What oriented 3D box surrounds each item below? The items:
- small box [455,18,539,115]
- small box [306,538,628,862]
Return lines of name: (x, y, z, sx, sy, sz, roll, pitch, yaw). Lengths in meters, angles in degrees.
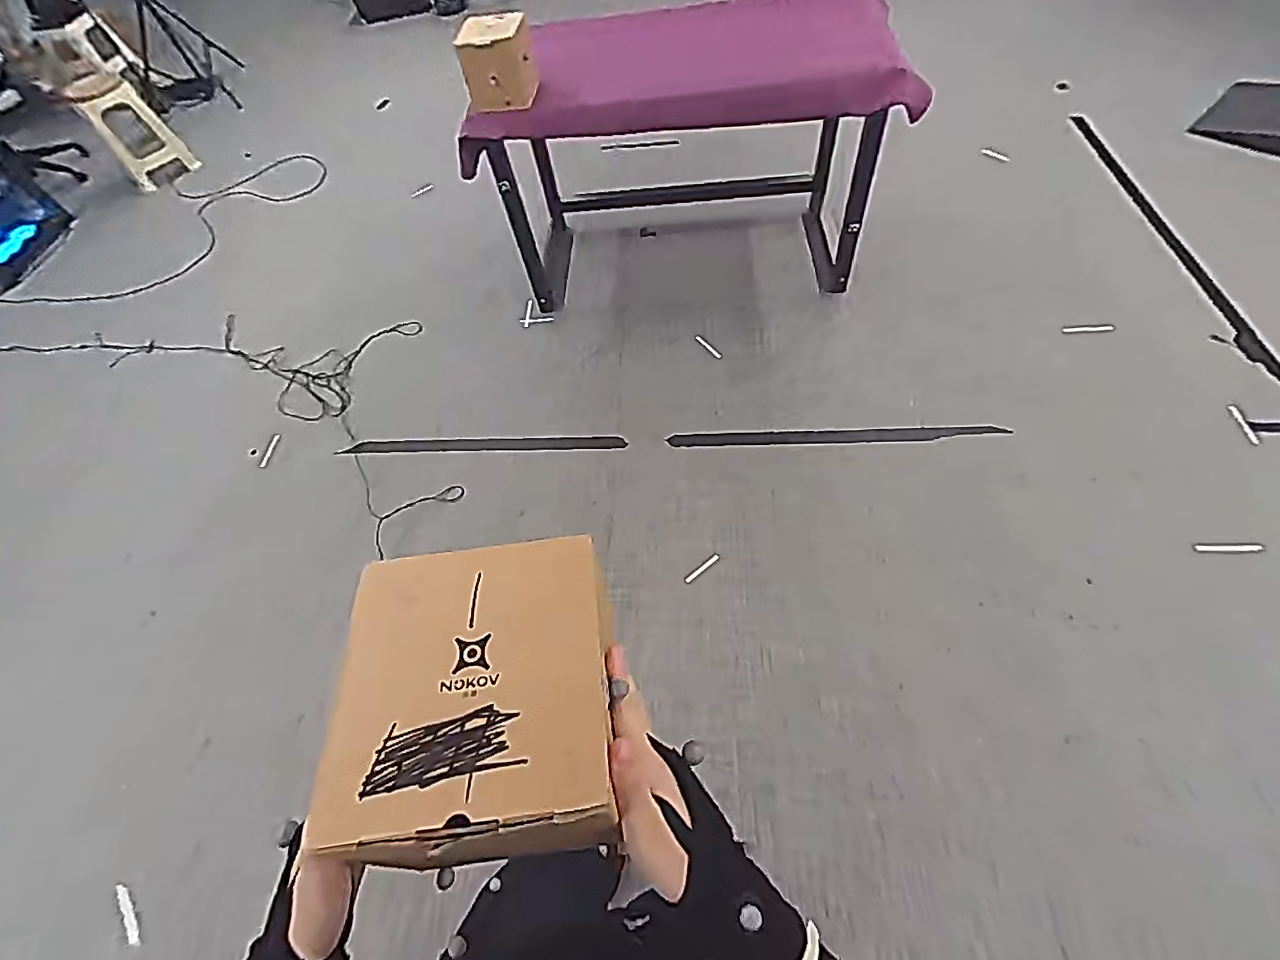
small box: (-0.395, -1.158, 1.526, 0.168, 0.176, 0.179, 0, 59, 7)
small box: (-0.102, 0.169, 0.402, 0.168, 0.176, 0.179, -7, 50, -2)
